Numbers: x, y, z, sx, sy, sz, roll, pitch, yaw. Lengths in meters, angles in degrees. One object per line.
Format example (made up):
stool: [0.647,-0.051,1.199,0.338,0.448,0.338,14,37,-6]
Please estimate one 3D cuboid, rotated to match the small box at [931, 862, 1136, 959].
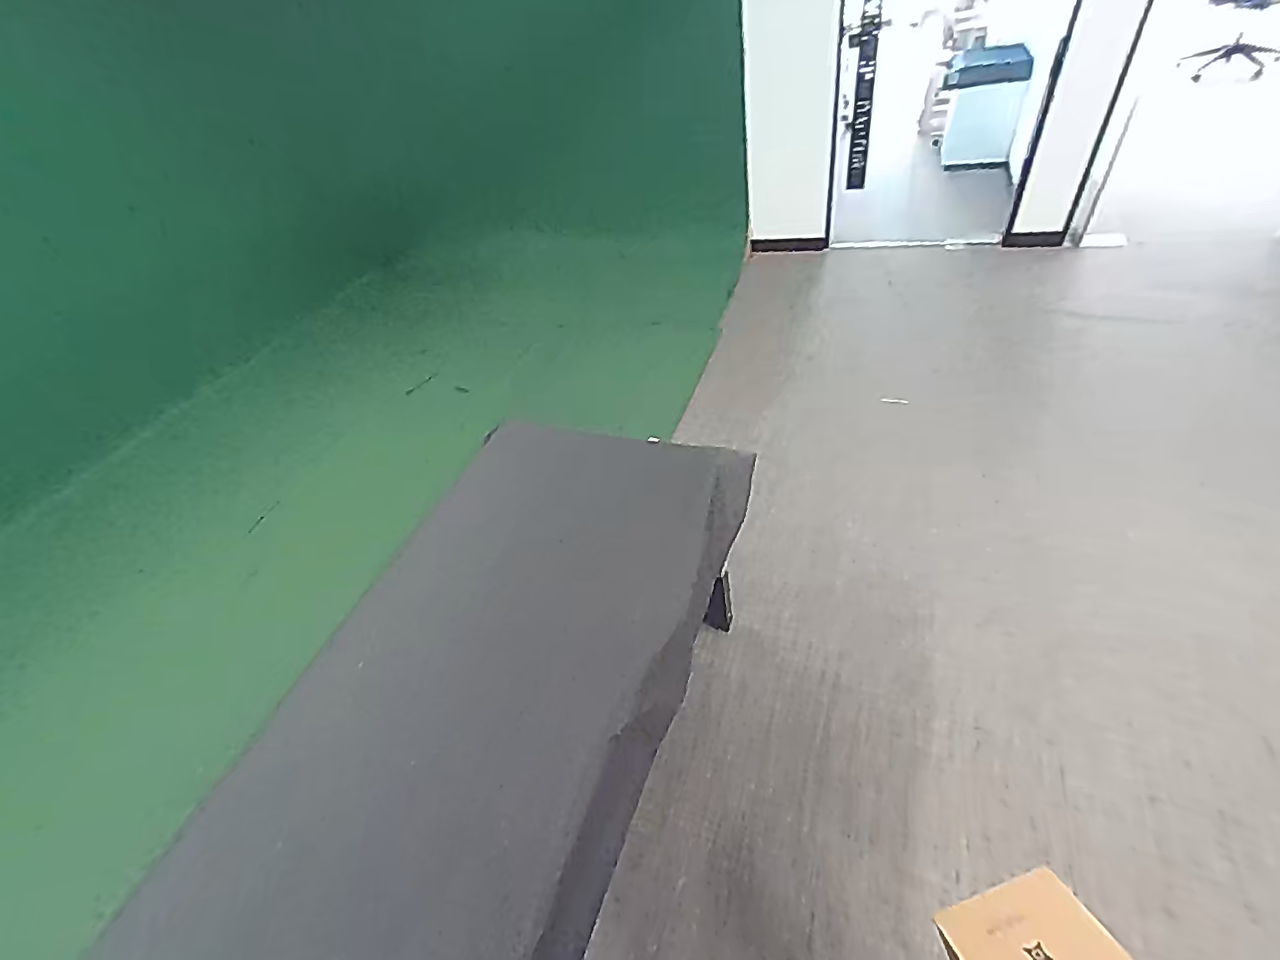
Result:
small box: [0.492,0.617,0.637,0.168,0.176,0.179,-24,9,0]
